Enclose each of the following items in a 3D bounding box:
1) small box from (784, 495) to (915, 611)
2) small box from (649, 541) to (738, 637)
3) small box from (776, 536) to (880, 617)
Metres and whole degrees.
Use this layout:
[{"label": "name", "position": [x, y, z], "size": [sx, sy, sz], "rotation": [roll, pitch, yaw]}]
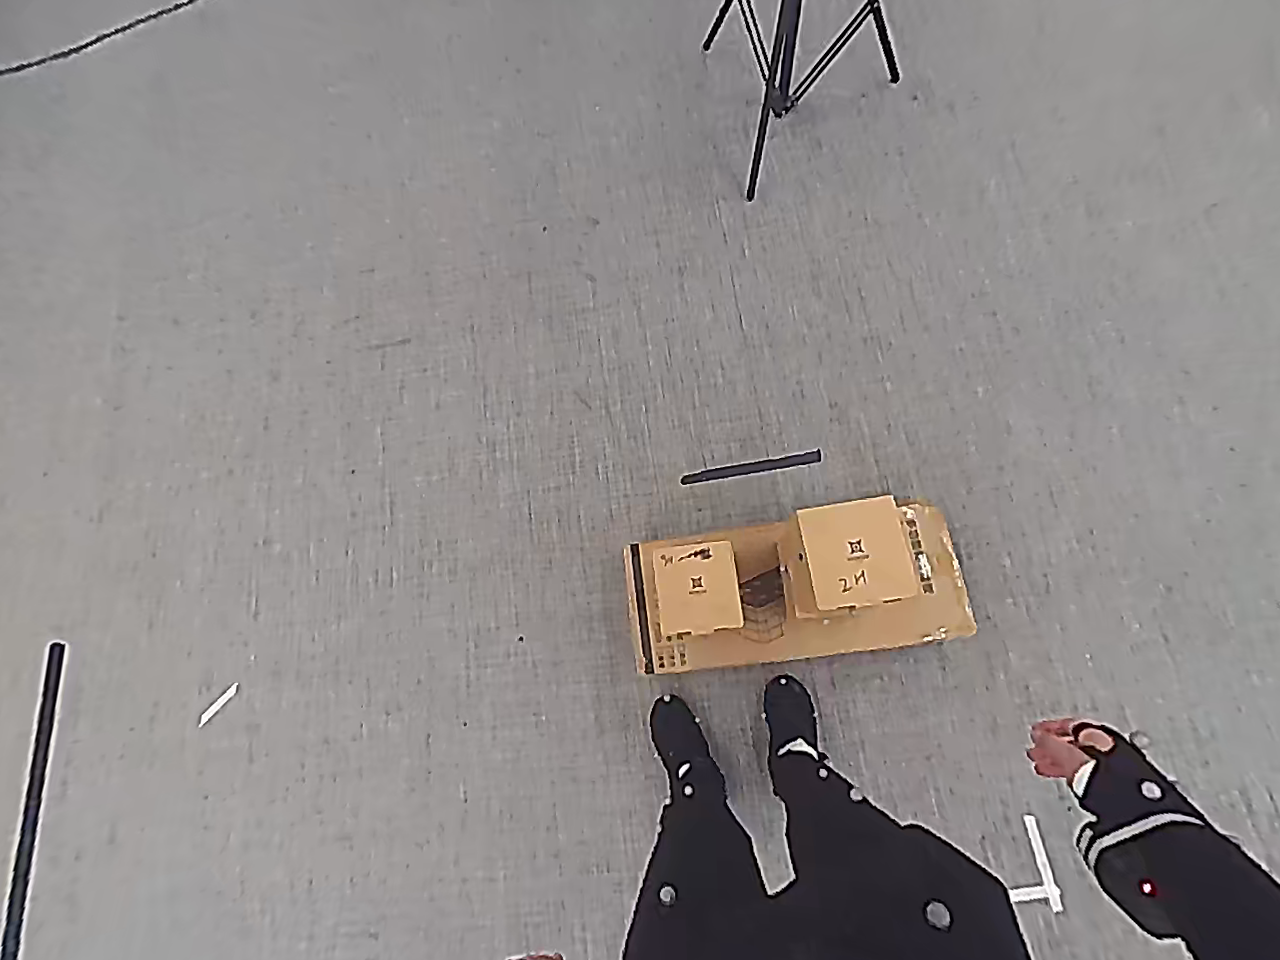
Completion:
[{"label": "small box", "position": [0.367, 0.140, 0.984], "size": [0.168, 0.176, 0.179], "rotation": [-9, 75, 5]}, {"label": "small box", "position": [0.119, 0.234, 1.162], "size": [0.168, 0.176, 0.179], "rotation": [-8, 76, 7]}, {"label": "small box", "position": [0.385, 0.196, 1.140], "size": [0.168, 0.176, 0.179], "rotation": [-5, 76, 7]}]
